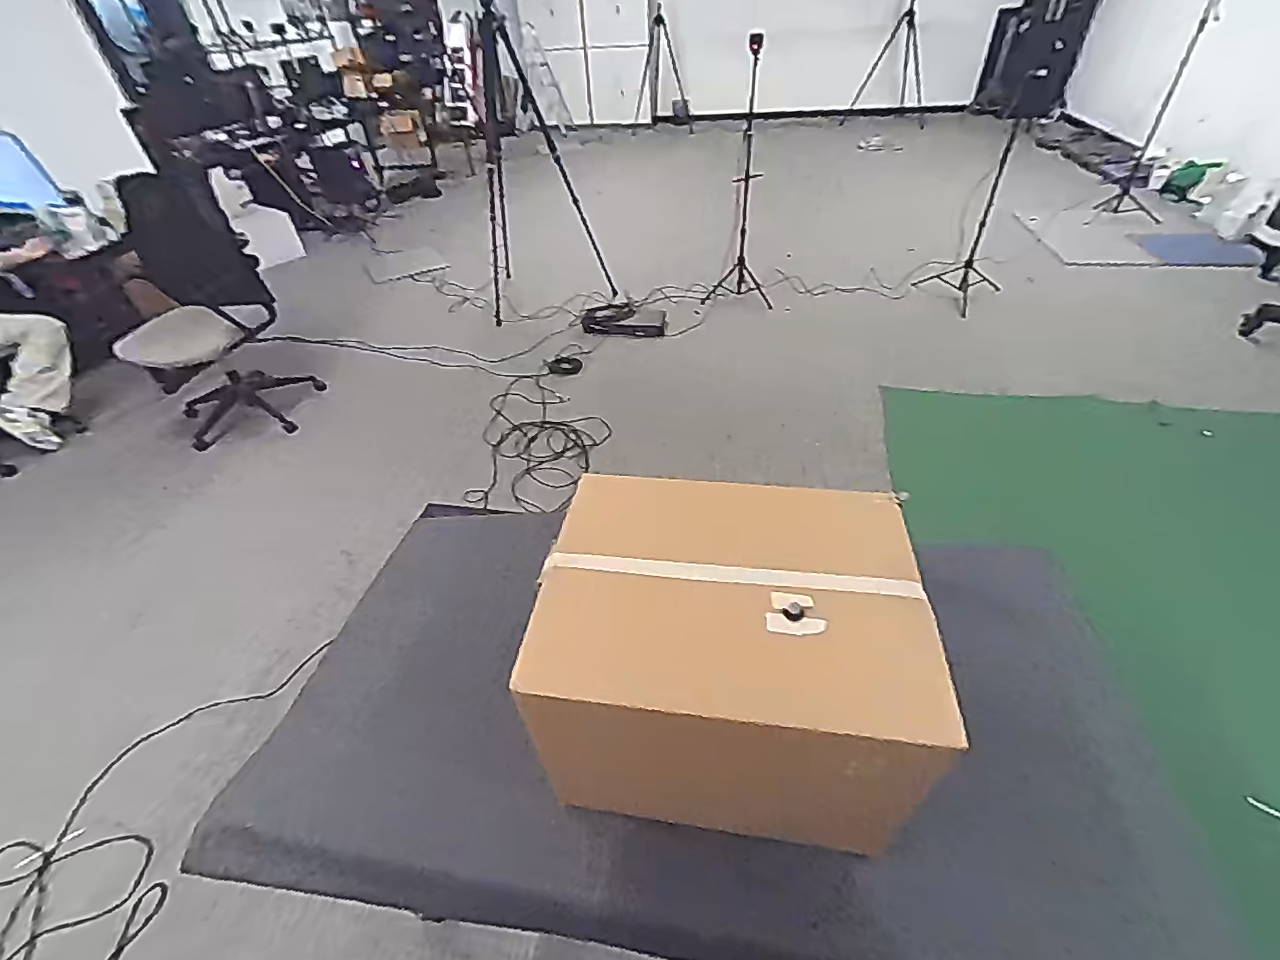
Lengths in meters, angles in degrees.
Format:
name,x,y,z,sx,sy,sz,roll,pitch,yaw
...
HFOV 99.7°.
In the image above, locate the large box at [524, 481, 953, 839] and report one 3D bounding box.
name,x,y,z,sx,sy,sz,roll,pitch,yaw
large box,0.106,0.224,0.705,0.408,0.320,0.320,4,43,8
